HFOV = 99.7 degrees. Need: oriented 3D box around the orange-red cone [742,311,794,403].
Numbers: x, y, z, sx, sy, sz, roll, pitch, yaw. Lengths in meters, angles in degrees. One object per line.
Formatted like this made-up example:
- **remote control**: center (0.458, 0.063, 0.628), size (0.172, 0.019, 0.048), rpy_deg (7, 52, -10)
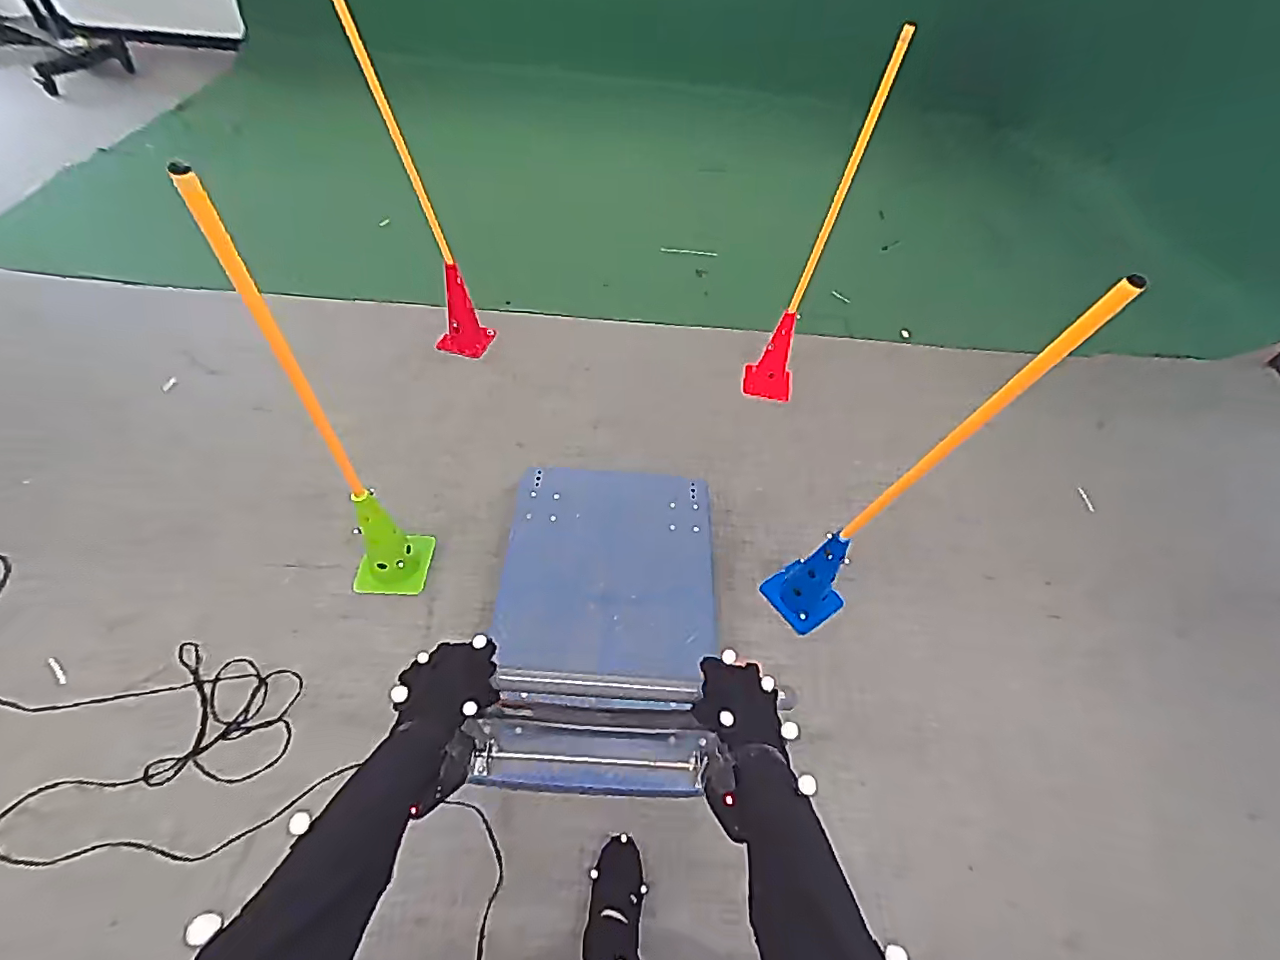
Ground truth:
- **orange-red cone**: center (0.548, -0.512, 2.156), size (0.198, 0.360, 0.199), rpy_deg (12, 52, 5)
